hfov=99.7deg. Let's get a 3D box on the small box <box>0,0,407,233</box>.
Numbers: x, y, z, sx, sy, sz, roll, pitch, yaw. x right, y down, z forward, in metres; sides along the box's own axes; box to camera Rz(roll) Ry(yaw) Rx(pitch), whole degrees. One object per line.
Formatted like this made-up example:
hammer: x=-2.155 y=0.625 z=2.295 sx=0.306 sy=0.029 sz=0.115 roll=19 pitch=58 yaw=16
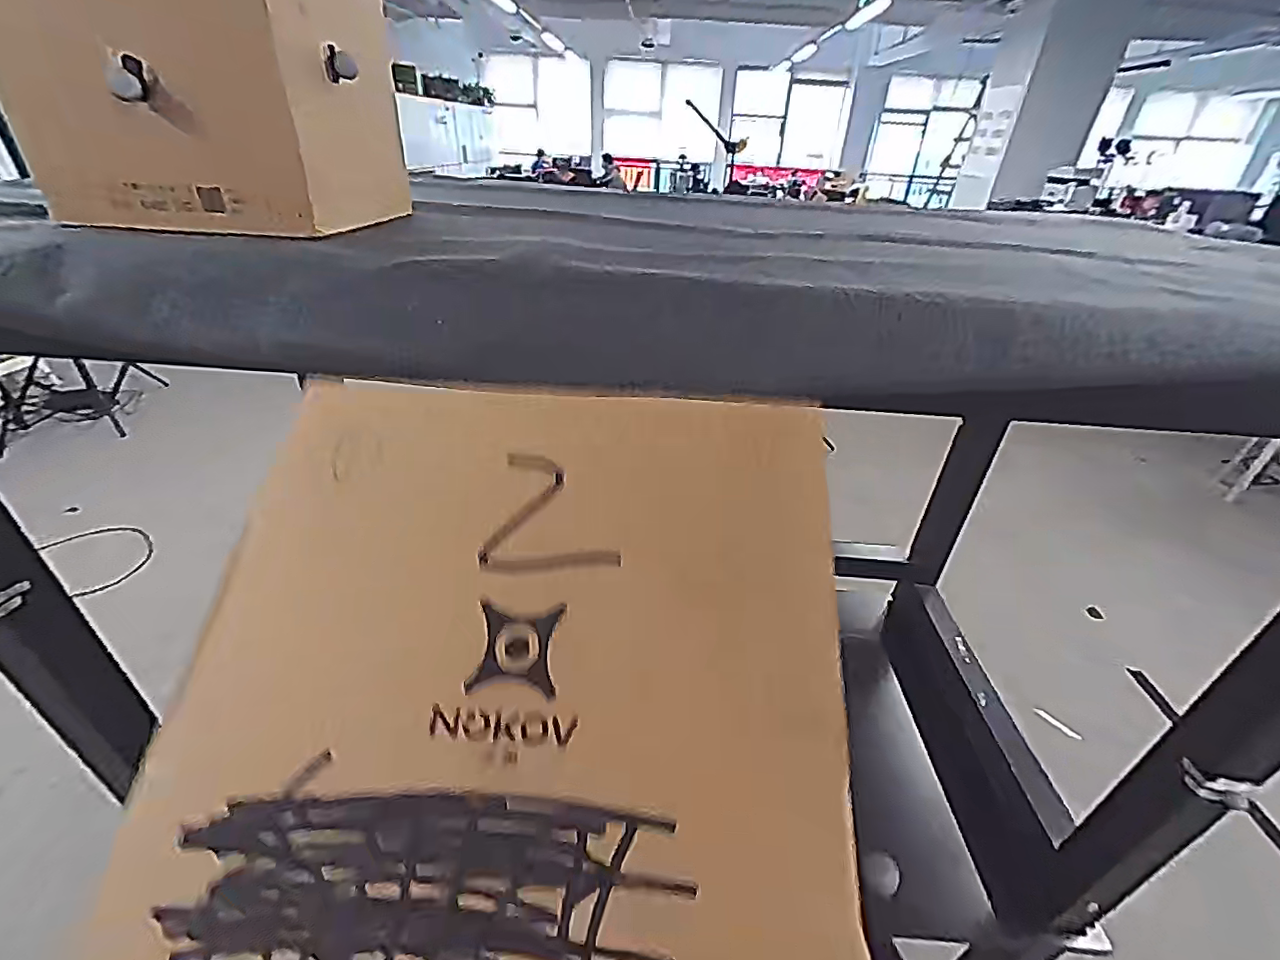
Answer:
small box: x=-0.277 y=-0.272 z=0.370 sx=0.168 sy=0.176 sz=0.179 roll=2 pitch=31 yaw=-3
